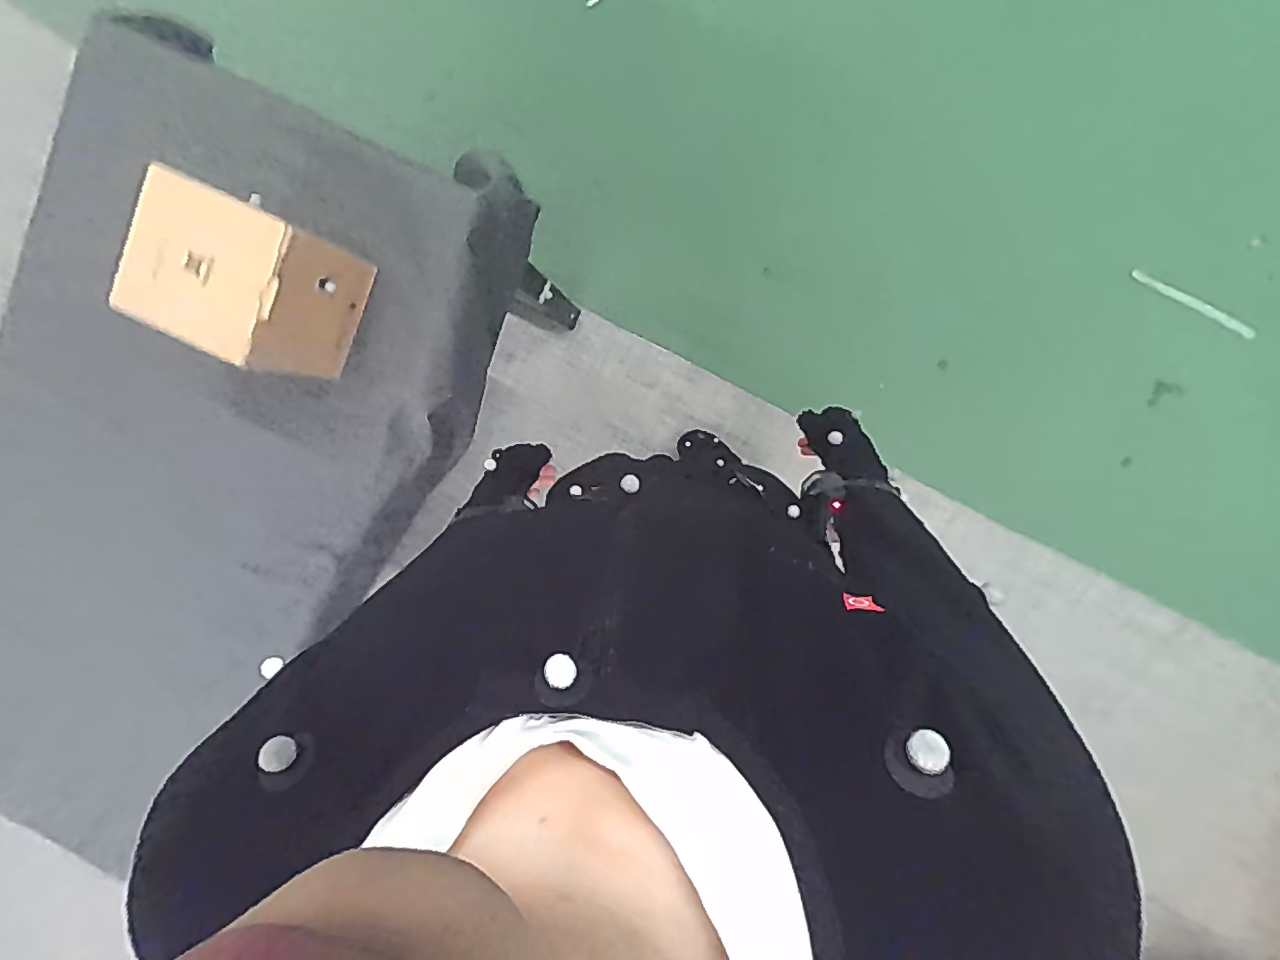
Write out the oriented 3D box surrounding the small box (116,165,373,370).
[{"bbox_3d":[-0.473,-0.245,0.673,0.179,0.176,0.168,24,98,4],"label":"small box"}]
